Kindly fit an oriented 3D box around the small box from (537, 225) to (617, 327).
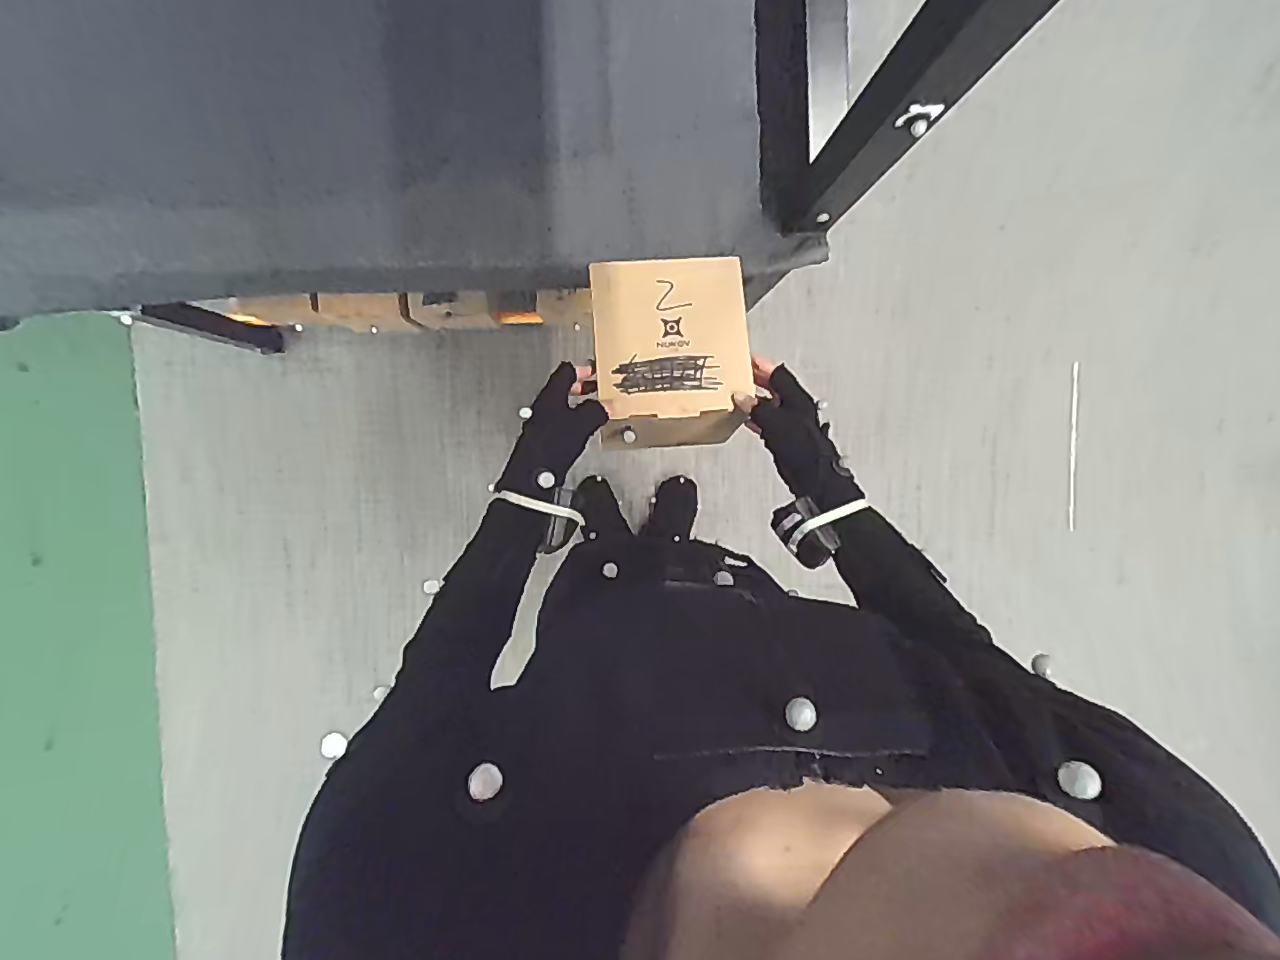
[{"bbox_3d":[-0.140,-0.464,1.251,0.168,0.176,0.179,3,96,-2],"label":"small box"}]
